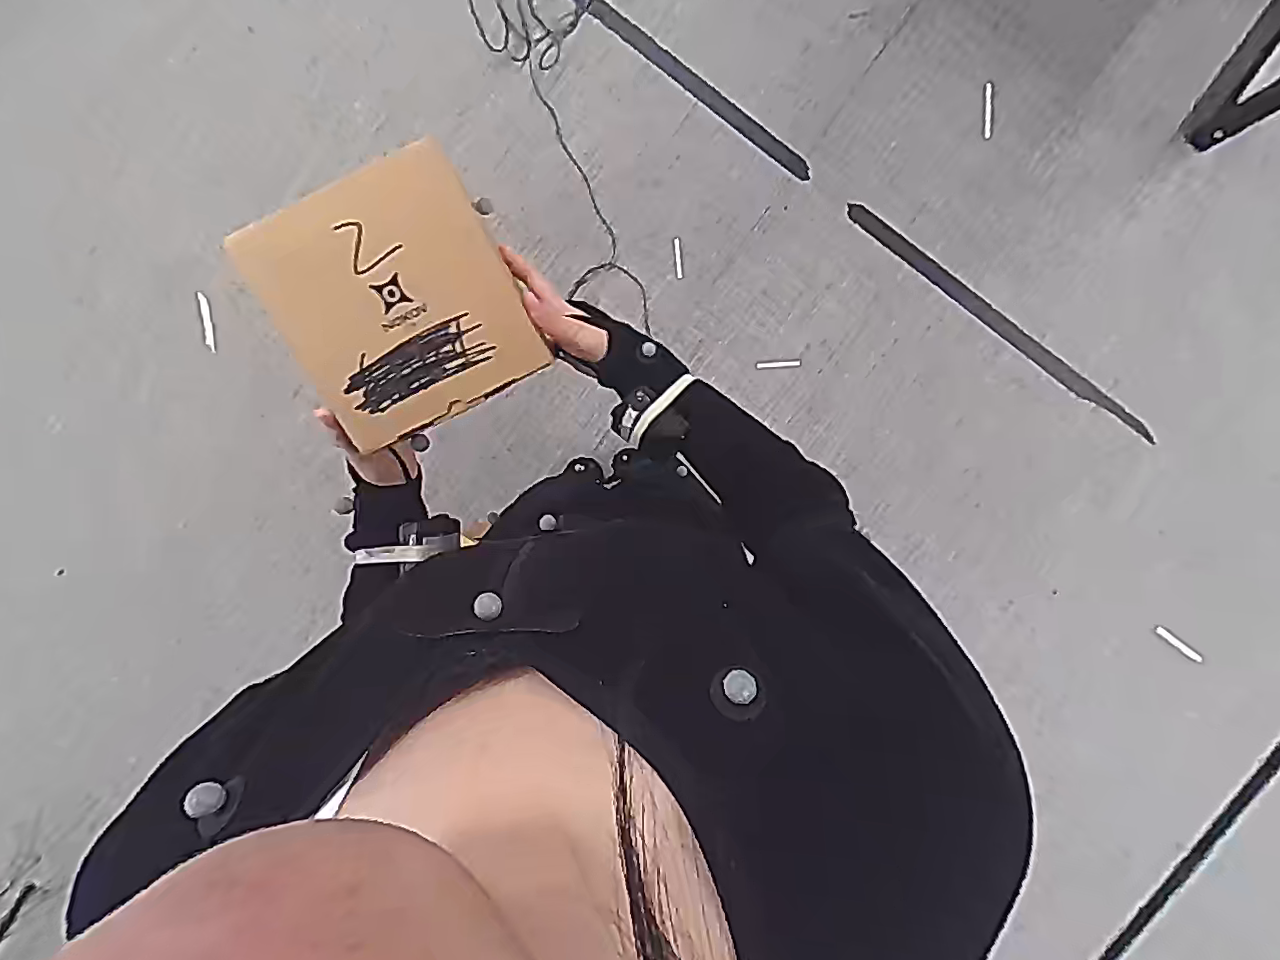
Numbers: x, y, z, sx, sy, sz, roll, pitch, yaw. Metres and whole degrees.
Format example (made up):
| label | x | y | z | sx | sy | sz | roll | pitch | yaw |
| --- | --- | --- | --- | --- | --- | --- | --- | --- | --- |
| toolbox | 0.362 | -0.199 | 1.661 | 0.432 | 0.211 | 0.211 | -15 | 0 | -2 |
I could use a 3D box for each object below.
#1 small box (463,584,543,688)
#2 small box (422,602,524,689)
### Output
| label | x | y | z | sx | sy | sz | roll | pitch | yaw |
| --- | --- | --- | --- | --- | --- | --- | --- | --- | --- |
| small box | -0.325 | 0.347 | 1.142 | 0.168 | 0.176 | 0.179 | 34 | 92 | -1 |
| small box | -0.328 | 0.347 | 0.980 | 0.168 | 0.176 | 0.179 | 32 | 93 | 0 |
